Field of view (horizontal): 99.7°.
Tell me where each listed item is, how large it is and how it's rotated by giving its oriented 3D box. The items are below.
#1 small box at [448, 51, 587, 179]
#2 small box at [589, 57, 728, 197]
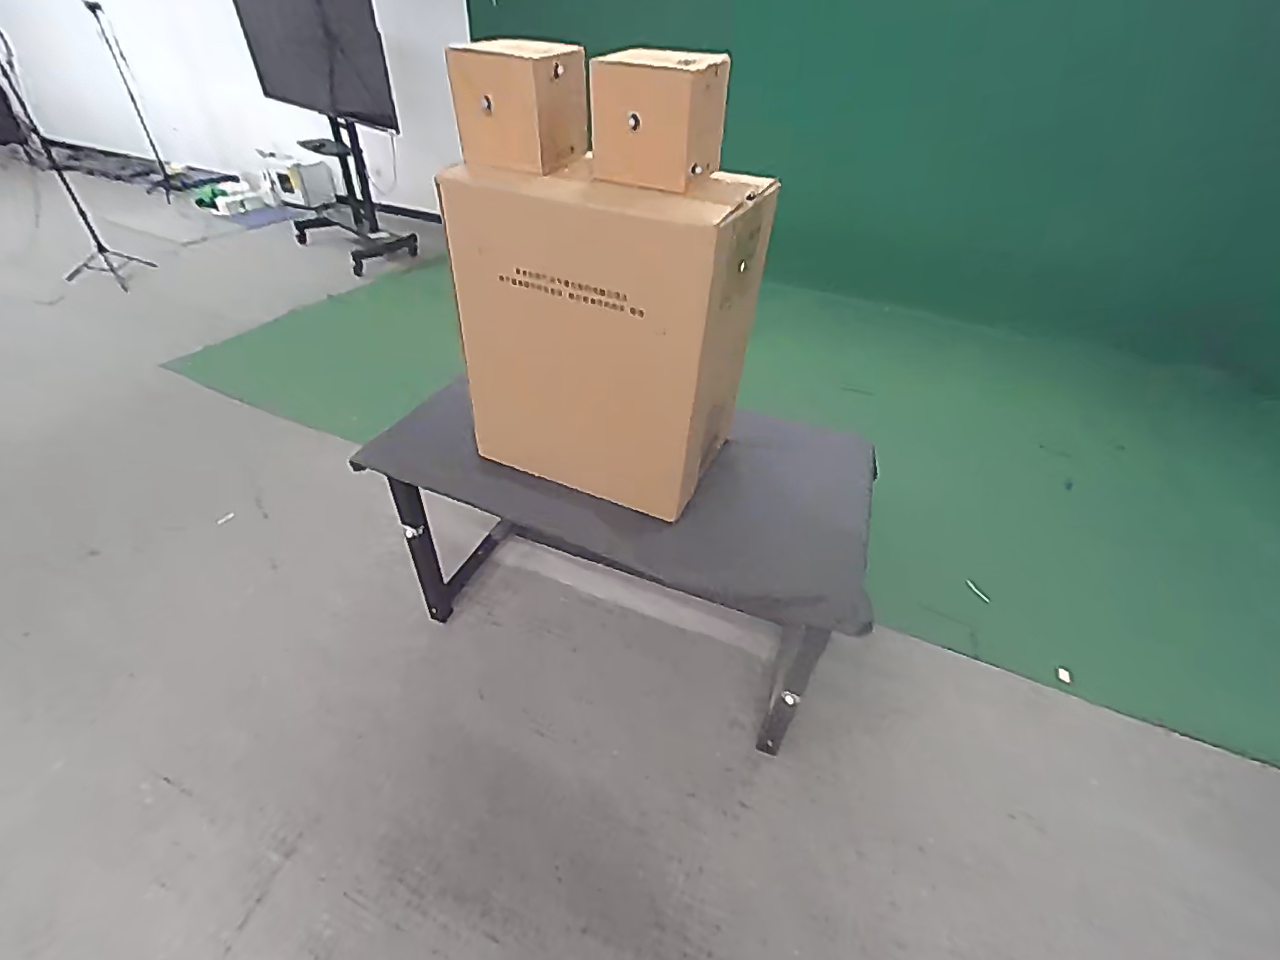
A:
[{"bbox_3d":[-0.211,-0.659,0.977,0.179,0.176,0.168,18,46,17],"label":"small box"},{"bbox_3d":[0.032,-0.596,0.916,0.179,0.176,0.168,19,47,18],"label":"small box"}]
